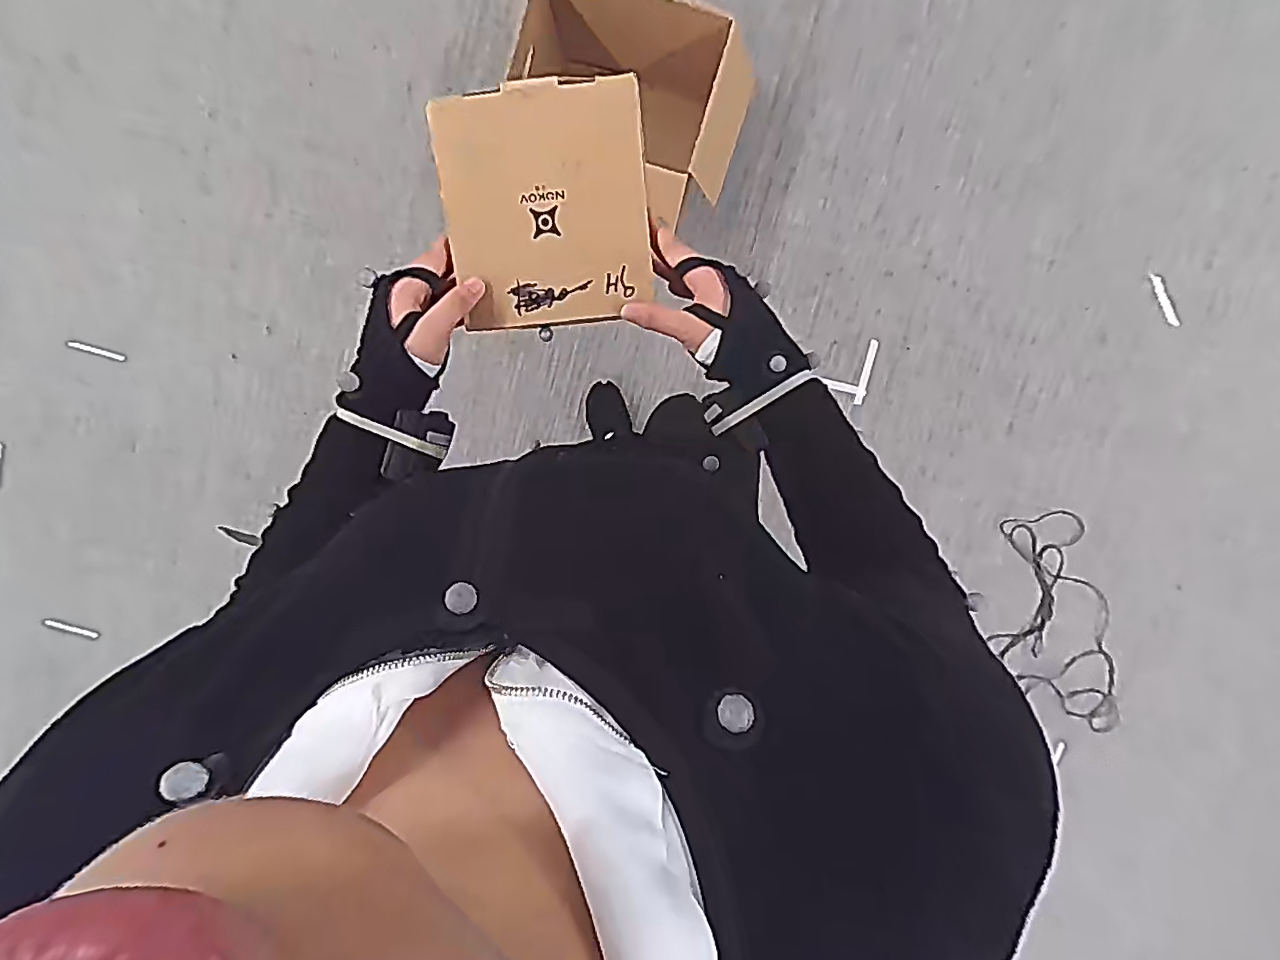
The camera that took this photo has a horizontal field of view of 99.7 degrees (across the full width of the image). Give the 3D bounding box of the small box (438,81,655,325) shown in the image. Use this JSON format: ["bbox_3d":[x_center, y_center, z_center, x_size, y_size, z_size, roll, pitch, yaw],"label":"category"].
[{"bbox_3d":[-0.073,-0.245,0.523,0.168,0.176,0.179,-4,107,3],"label":"small box"}]
